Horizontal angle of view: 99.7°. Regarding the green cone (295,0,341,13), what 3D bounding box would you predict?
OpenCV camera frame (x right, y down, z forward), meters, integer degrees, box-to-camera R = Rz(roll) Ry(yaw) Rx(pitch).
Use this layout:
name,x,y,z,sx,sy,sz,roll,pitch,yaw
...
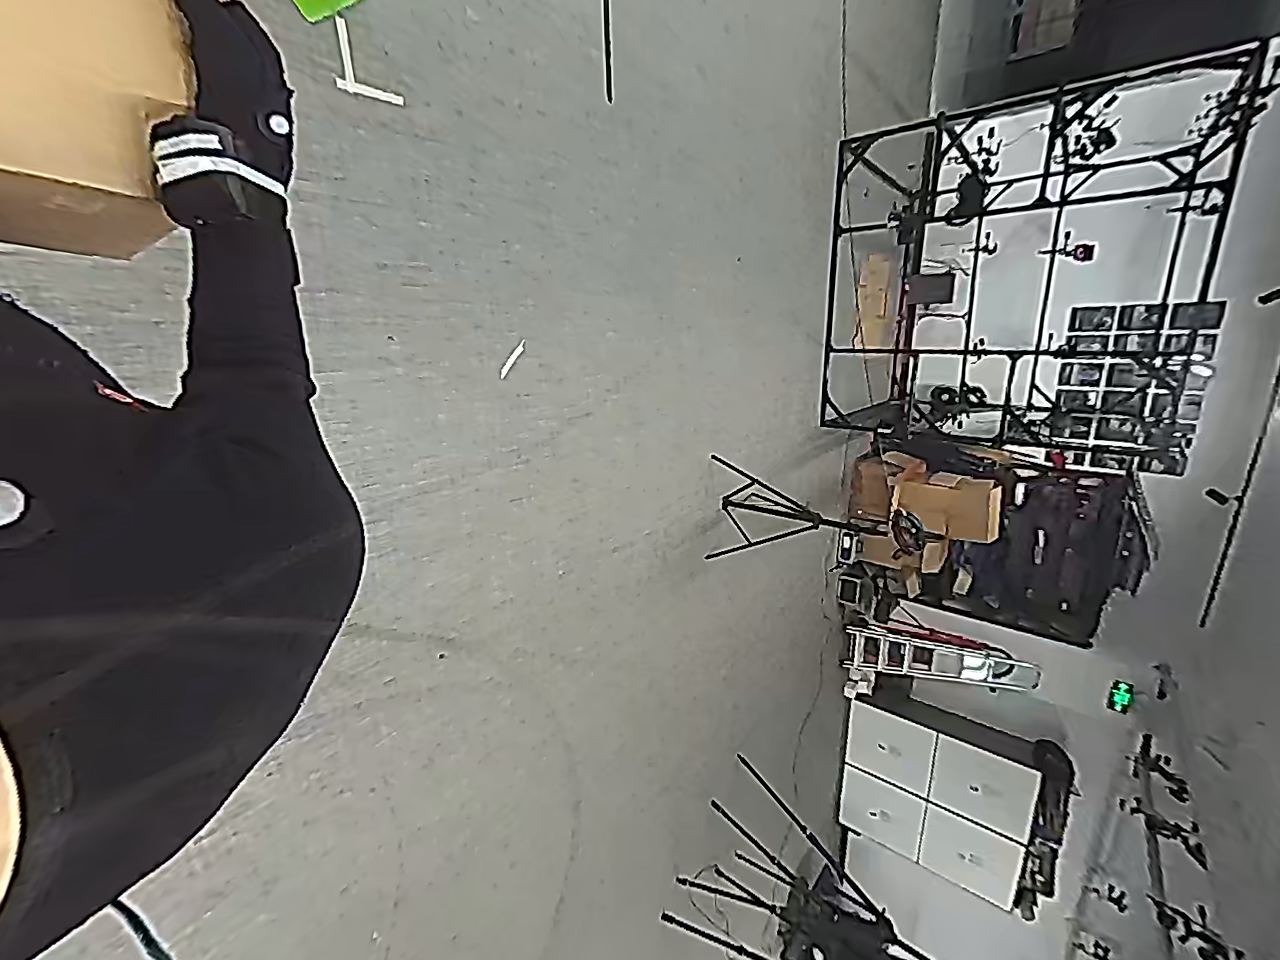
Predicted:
name,x,y,z,sx,sy,sz,roll,pitch,yaw
green cone,-0.624,-1.178,1.124,0.202,0.368,0.200,-59,140,-27

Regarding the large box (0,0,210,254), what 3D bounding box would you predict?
name,x,y,z,sx,sy,sz,roll,pitch,yaw
large box,-0.584,-0.360,0.343,0.408,0.320,0.320,-12,106,-52
